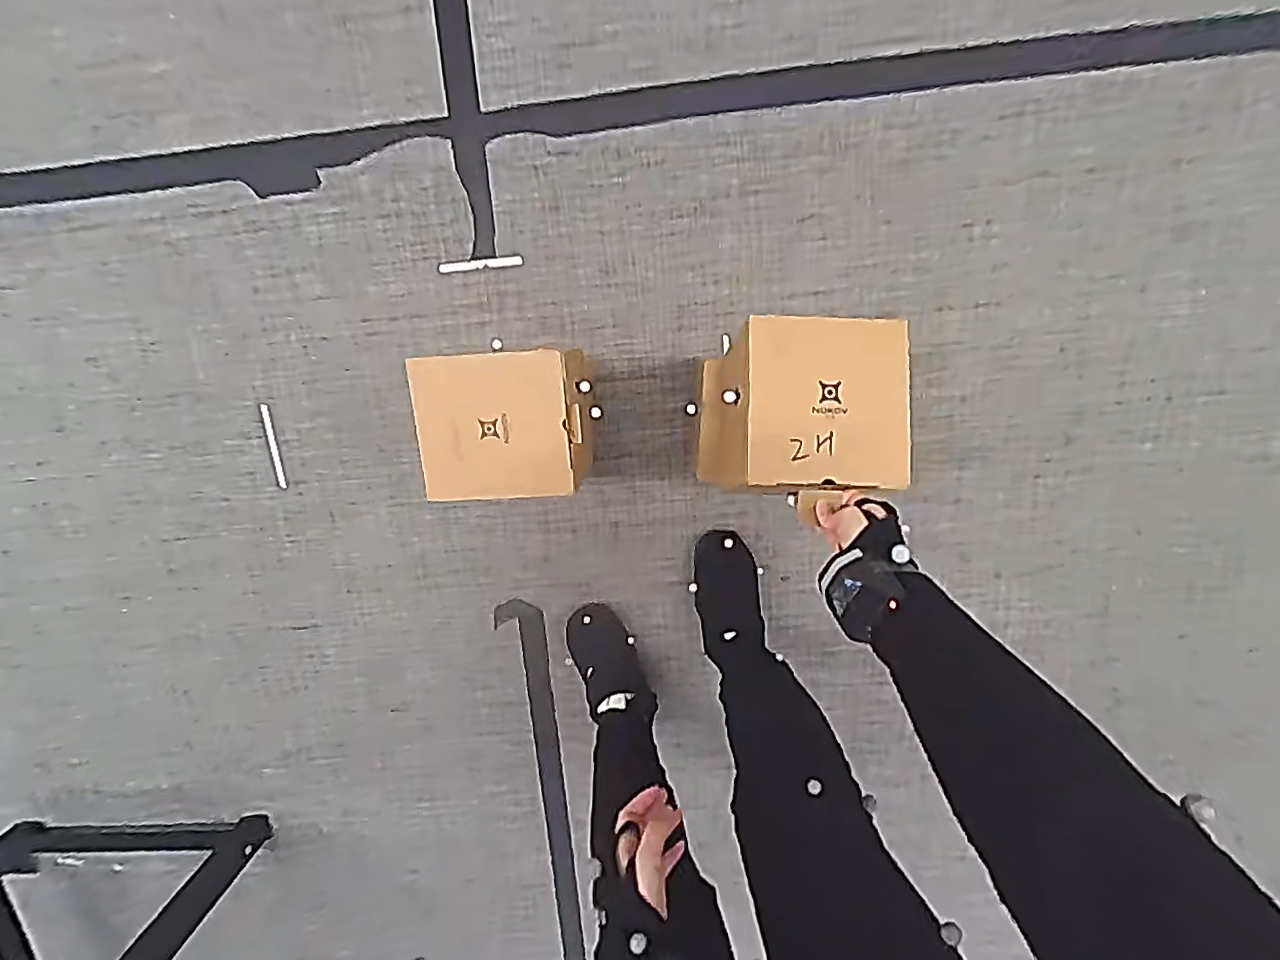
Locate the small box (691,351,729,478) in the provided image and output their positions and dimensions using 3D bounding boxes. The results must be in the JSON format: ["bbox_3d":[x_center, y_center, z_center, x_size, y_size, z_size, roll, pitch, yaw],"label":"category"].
[{"bbox_3d":[0.169,-0.104,0.831,0.168,0.176,0.179,2,104,1],"label":"small box"}]

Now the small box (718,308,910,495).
[{"bbox_3d":[0.185,-0.077,0.620,0.168,0.176,0.179,2,86,-2],"label":"small box"}]

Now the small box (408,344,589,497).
[{"bbox_3d":[-0.159,-0.082,0.674,0.179,0.176,0.168,-2,104,3],"label":"small box"}]
